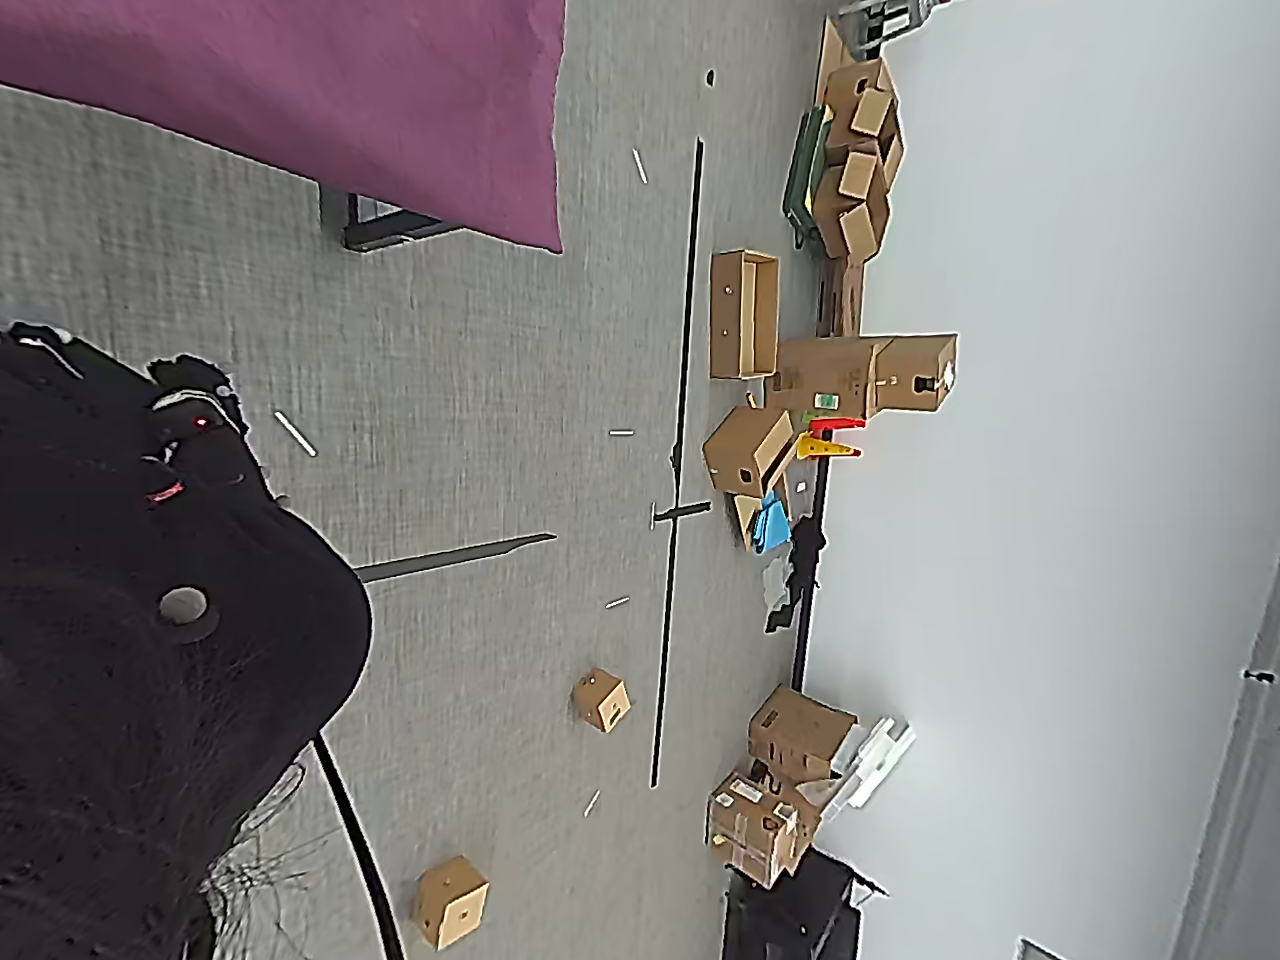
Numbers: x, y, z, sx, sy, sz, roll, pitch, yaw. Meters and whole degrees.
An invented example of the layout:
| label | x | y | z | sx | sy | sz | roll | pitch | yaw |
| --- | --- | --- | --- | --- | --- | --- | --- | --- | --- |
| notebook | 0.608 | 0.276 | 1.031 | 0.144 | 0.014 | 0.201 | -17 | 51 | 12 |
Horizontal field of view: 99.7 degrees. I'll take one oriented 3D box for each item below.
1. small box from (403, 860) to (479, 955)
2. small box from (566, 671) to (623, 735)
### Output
| label | x | y | z | sx | sy | sz | roll | pitch | yaw |
| --- | --- | --- | --- | --- | --- | --- | --- | --- | --- |
| small box | -0.705 | 1.498 | 1.908 | 0.179 | 0.176 | 0.168 | 13 | 90 | -53 |
| small box | -0.203 | 0.984 | 2.405 | 0.168 | 0.176 | 0.179 | -37 | 125 | -41 |
